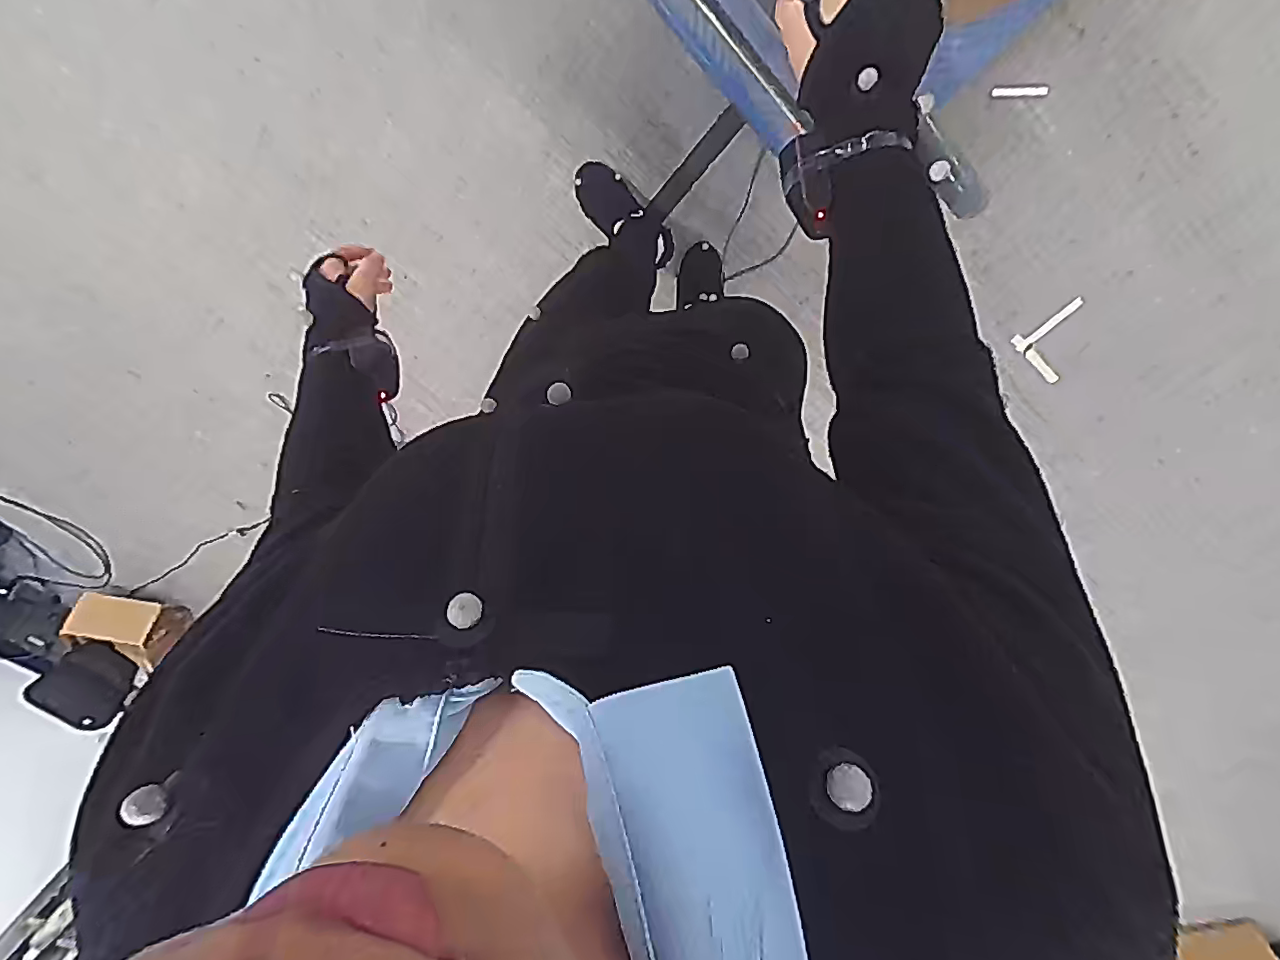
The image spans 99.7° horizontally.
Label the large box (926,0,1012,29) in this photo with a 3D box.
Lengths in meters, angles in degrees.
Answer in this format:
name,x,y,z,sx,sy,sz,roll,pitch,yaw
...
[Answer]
name,x,y,z,sx,sy,sz,roll,pitch,yaw
large box,0.472,-0.904,0.683,0.408,0.320,0.320,42,116,-16
